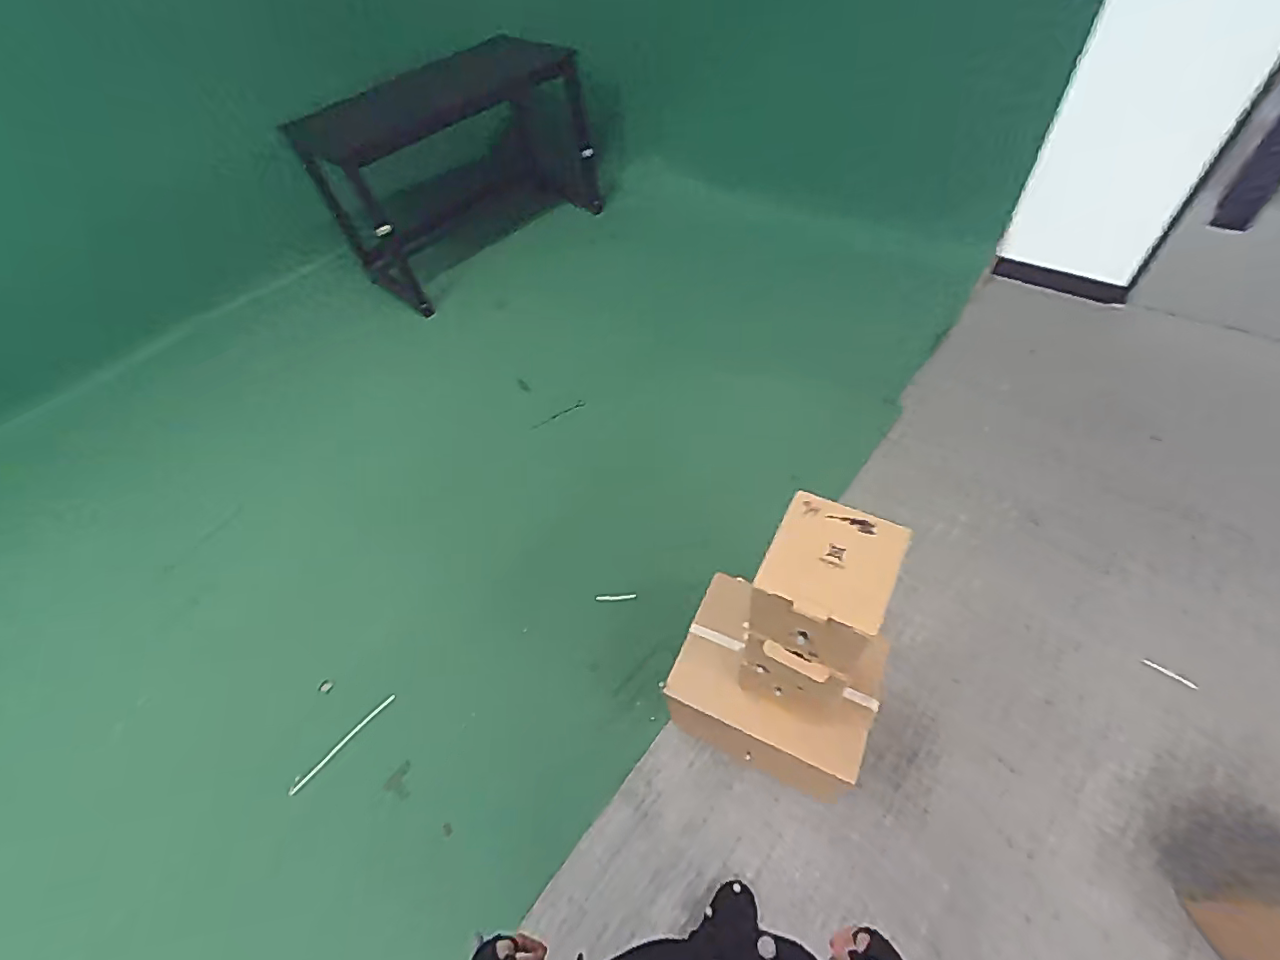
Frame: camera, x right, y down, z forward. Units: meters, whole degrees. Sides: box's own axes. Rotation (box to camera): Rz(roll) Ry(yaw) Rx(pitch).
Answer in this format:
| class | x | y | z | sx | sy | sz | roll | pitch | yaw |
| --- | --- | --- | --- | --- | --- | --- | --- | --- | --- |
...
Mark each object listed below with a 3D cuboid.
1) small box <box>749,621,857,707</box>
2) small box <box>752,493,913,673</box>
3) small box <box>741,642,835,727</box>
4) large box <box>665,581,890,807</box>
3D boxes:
| class | x | y | z | sx | sy | sz | roll | pitch | yaw |
| --- | --- | --- | --- | --- | --- | --- | --- | --- | --- |
| small box | 0.299 | 0.258 | 0.926 | 0.168 | 0.176 | 0.179 | 23 | 61 | 24 |
| small box | 0.276 | 0.156 | 0.799 | 0.168 | 0.176 | 0.179 | 22 | 61 | 23 |
| small box | 0.309 | 0.355 | 1.058 | 0.179 | 0.176 | 0.168 | 21 | 60 | 23 |
| large box | 0.315 | 0.496 | 1.260 | 0.408 | 0.320 | 0.320 | 17 | 56 | 22 |
